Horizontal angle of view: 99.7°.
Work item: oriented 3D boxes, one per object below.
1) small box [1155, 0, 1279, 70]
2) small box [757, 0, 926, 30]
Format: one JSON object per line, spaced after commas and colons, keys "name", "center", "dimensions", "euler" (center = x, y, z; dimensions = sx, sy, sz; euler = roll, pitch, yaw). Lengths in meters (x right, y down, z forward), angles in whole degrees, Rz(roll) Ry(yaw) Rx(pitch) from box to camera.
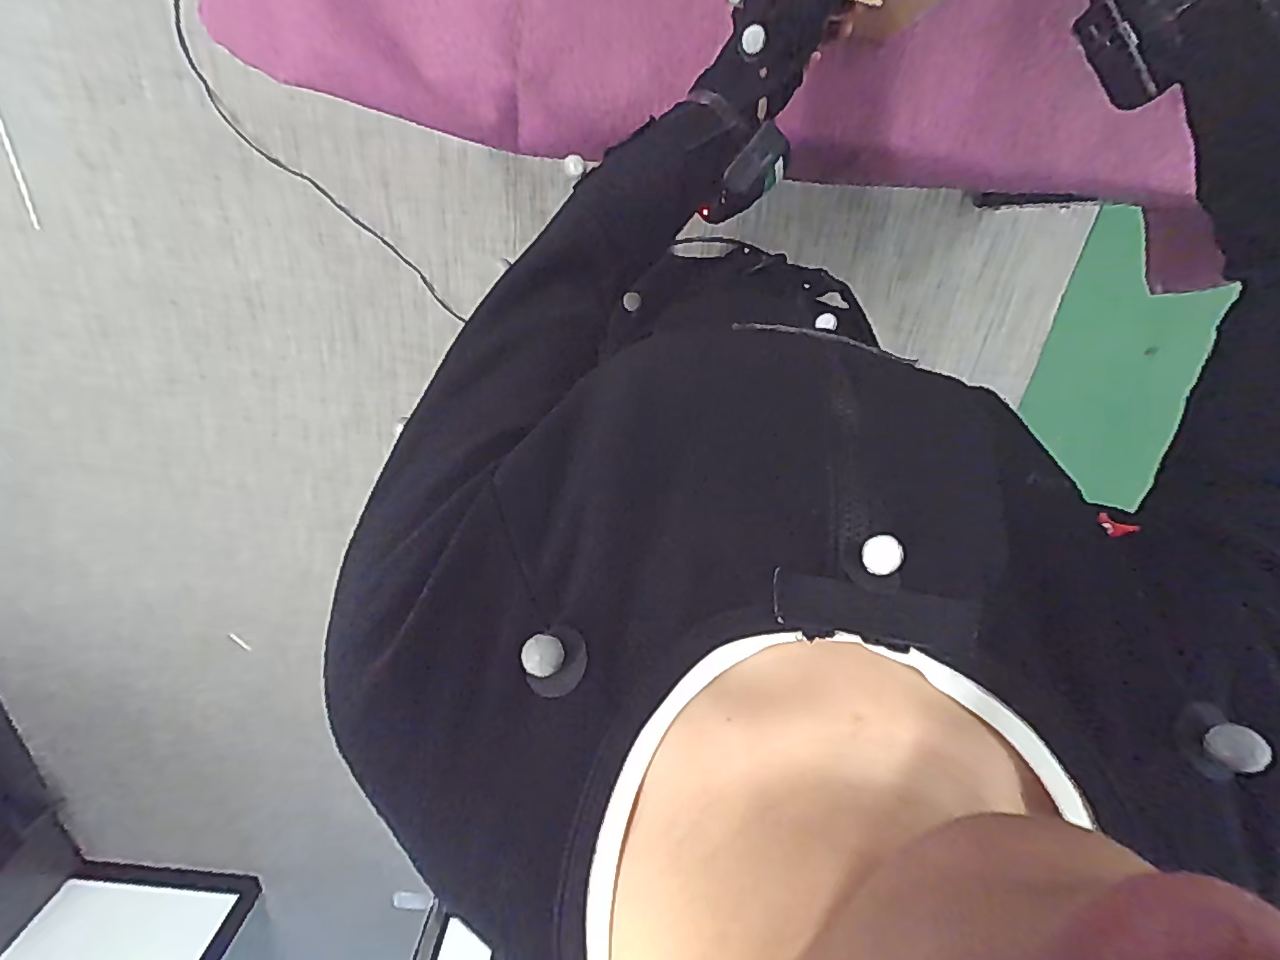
{"name": "small box", "center": [0.568, -0.457, 0.417], "dimensions": [0.168, 0.176, 0.179], "euler": [16, 115, -5]}
{"name": "small box", "center": [0.180, -0.490, 0.421], "dimensions": [0.168, 0.176, 0.179], "euler": [9, 116, -2]}
